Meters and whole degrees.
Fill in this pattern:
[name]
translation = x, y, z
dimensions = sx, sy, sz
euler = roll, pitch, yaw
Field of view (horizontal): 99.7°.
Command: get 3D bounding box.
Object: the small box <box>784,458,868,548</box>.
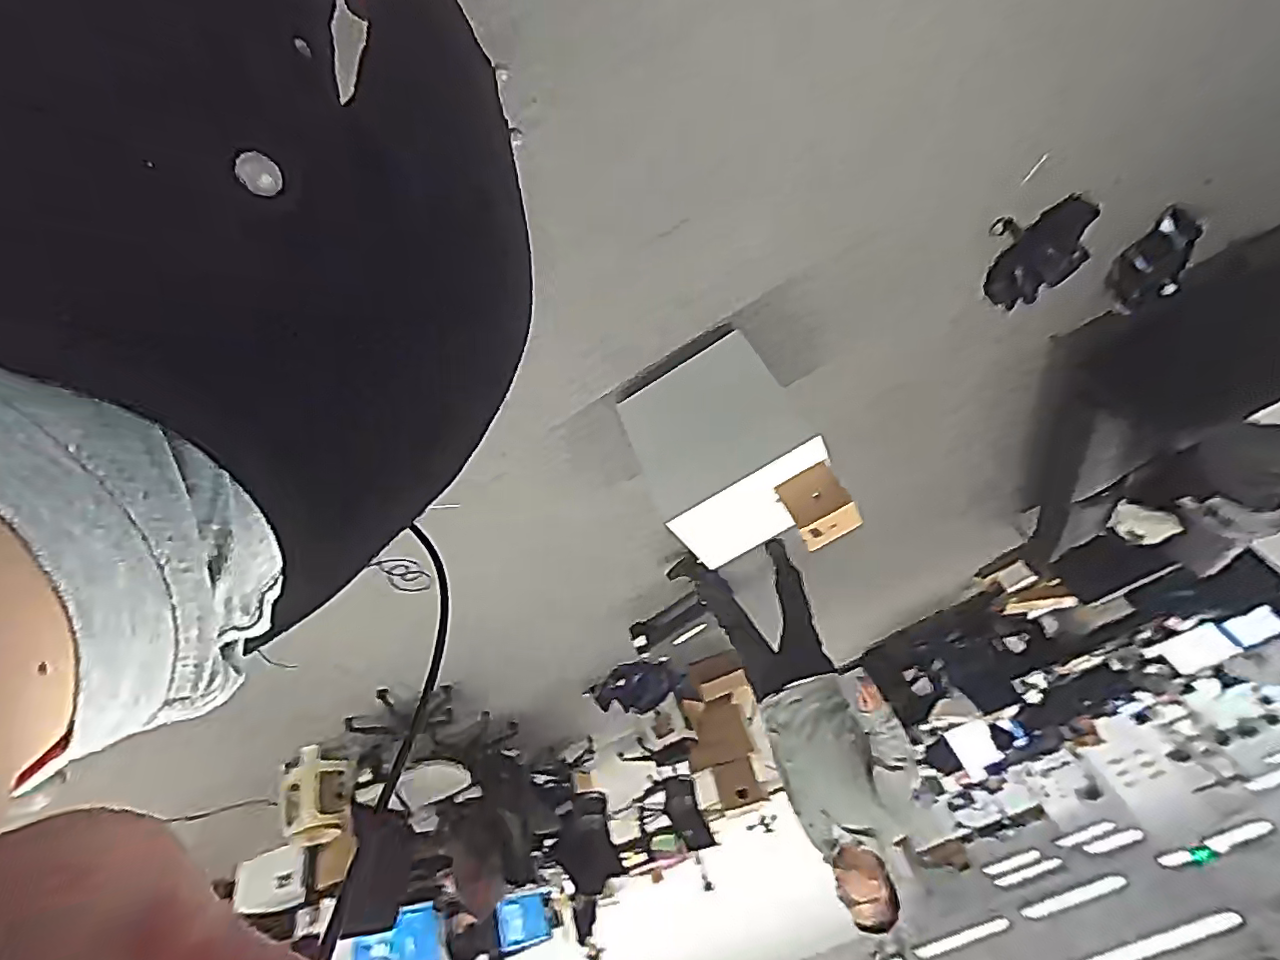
[small box]
translation = 0.553, 0.069, 1.631
dimensions = 0.179, 0.176, 0.168
euler = -32, 141, 11
